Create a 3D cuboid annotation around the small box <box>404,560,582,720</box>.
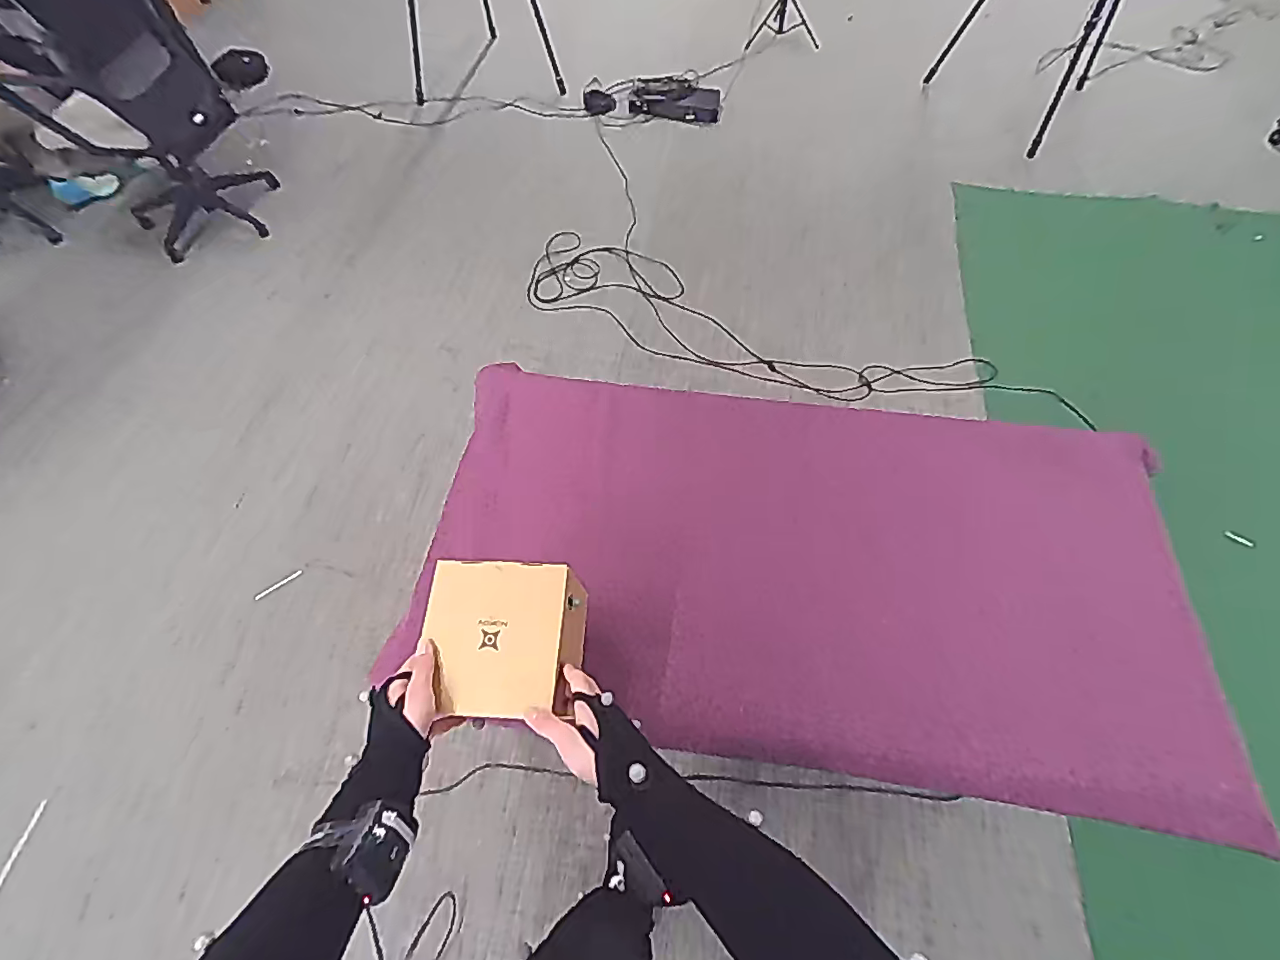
[{"bbox_3d":[-0.173,0.211,0.697,0.168,0.176,0.179,1,65,4],"label":"small box"}]
